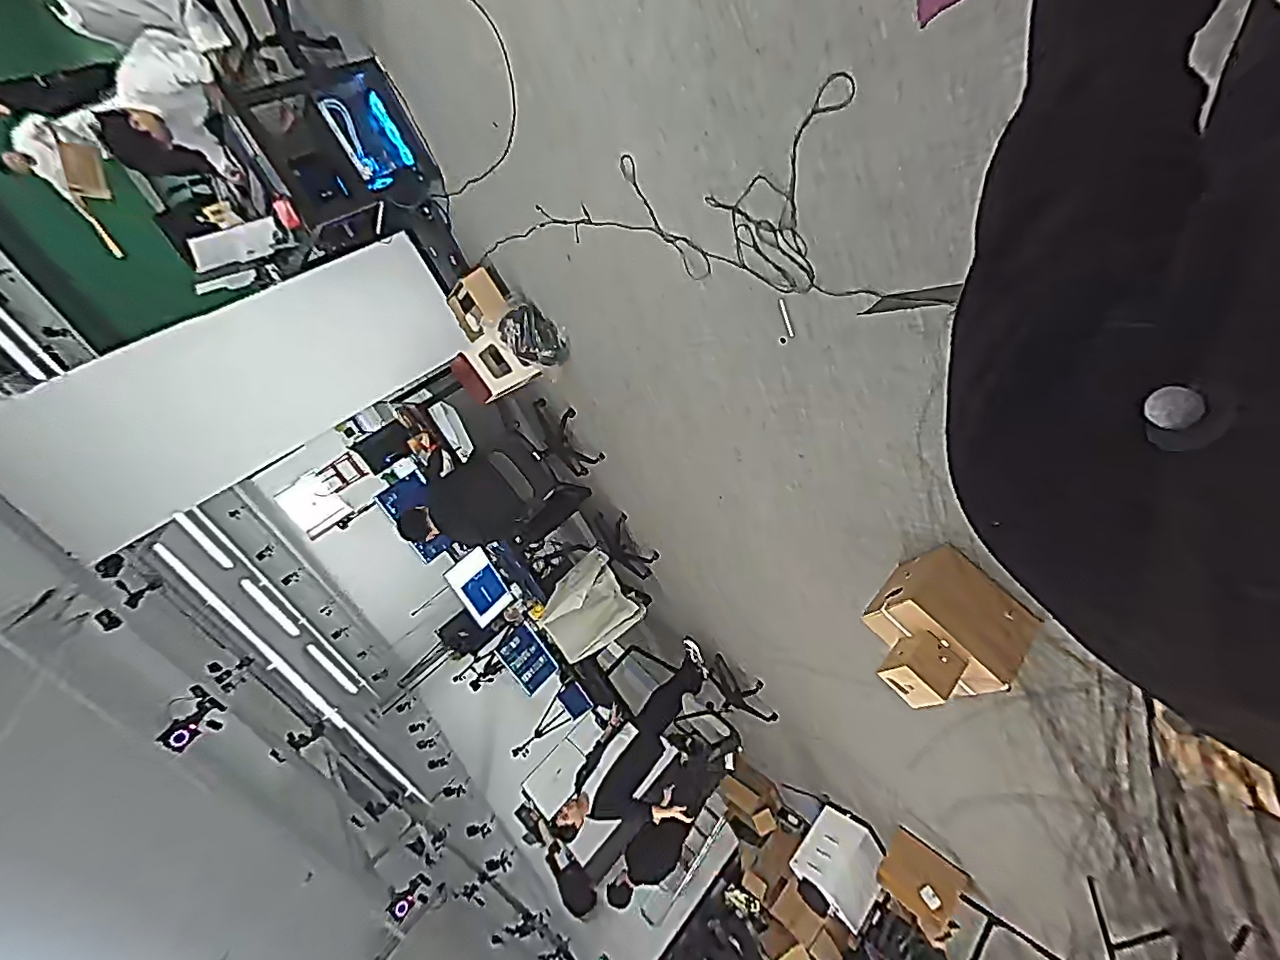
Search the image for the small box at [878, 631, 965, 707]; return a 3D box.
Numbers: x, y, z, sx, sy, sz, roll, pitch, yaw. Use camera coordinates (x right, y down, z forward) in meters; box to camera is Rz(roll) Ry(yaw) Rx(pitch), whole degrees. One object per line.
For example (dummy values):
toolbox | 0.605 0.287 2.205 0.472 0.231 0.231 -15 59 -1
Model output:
small box | 0.967 0.648 1.854 0.168 0.176 0.179 44 153 12
